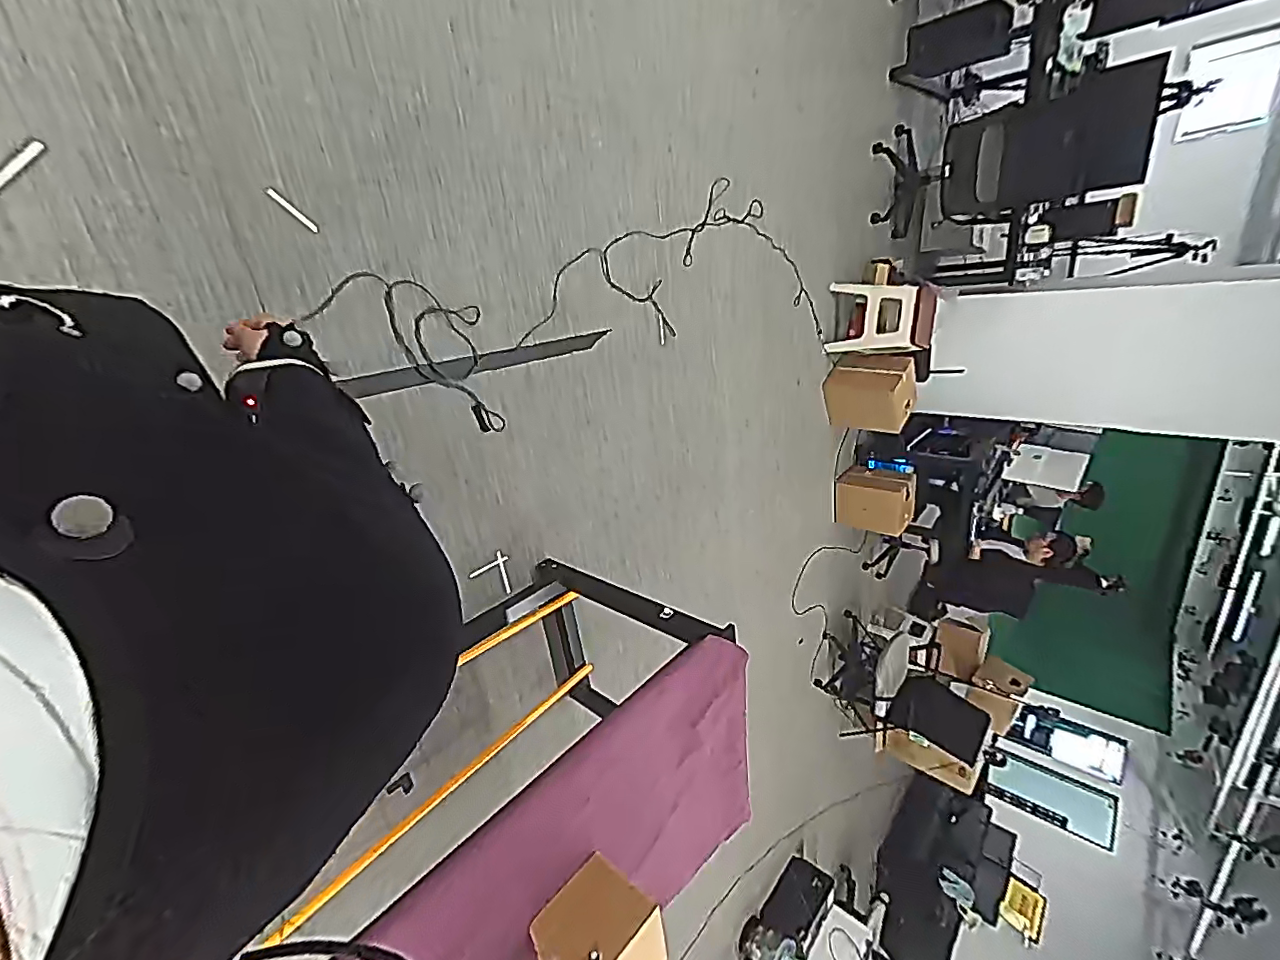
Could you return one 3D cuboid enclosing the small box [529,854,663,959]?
[{"bbox_3d":[-0.080,0.863,1.014,0.179,0.176,0.168,-27,118,-41],"label":"small box"}]
